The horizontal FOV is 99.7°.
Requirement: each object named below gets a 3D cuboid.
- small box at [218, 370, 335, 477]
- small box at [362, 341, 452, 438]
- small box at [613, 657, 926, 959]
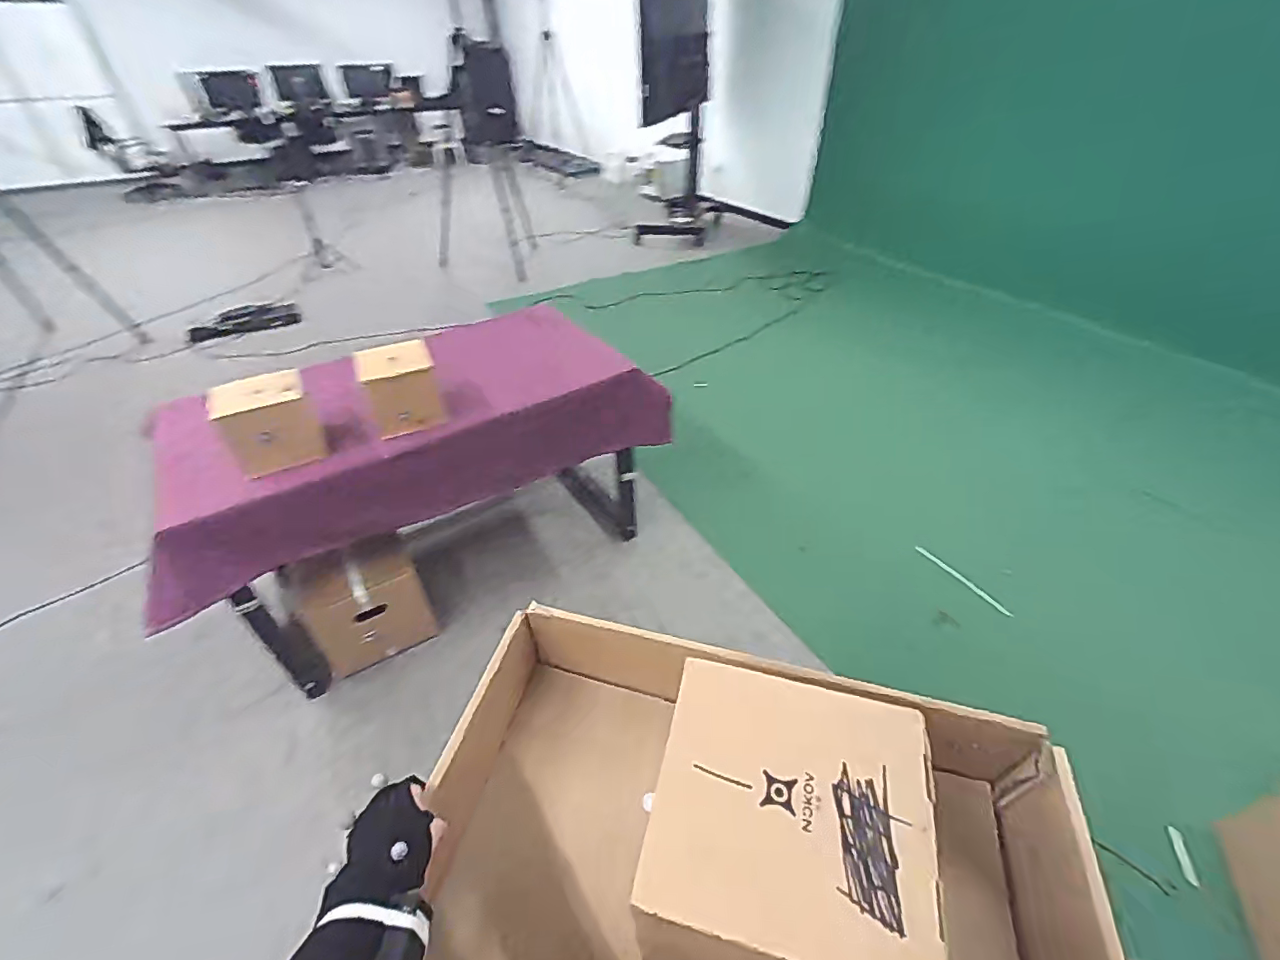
[{"bbox_3d":[-0.854,-0.133,1.279,0.179,0.176,0.168,-22,45,-22],"label":"small box"},{"bbox_3d":[-0.600,-0.235,1.396,0.168,0.176,0.179,-18,43,-18],"label":"small box"},{"bbox_3d":[0.090,0.266,0.409,0.179,0.176,0.168,9,44,12],"label":"small box"}]
